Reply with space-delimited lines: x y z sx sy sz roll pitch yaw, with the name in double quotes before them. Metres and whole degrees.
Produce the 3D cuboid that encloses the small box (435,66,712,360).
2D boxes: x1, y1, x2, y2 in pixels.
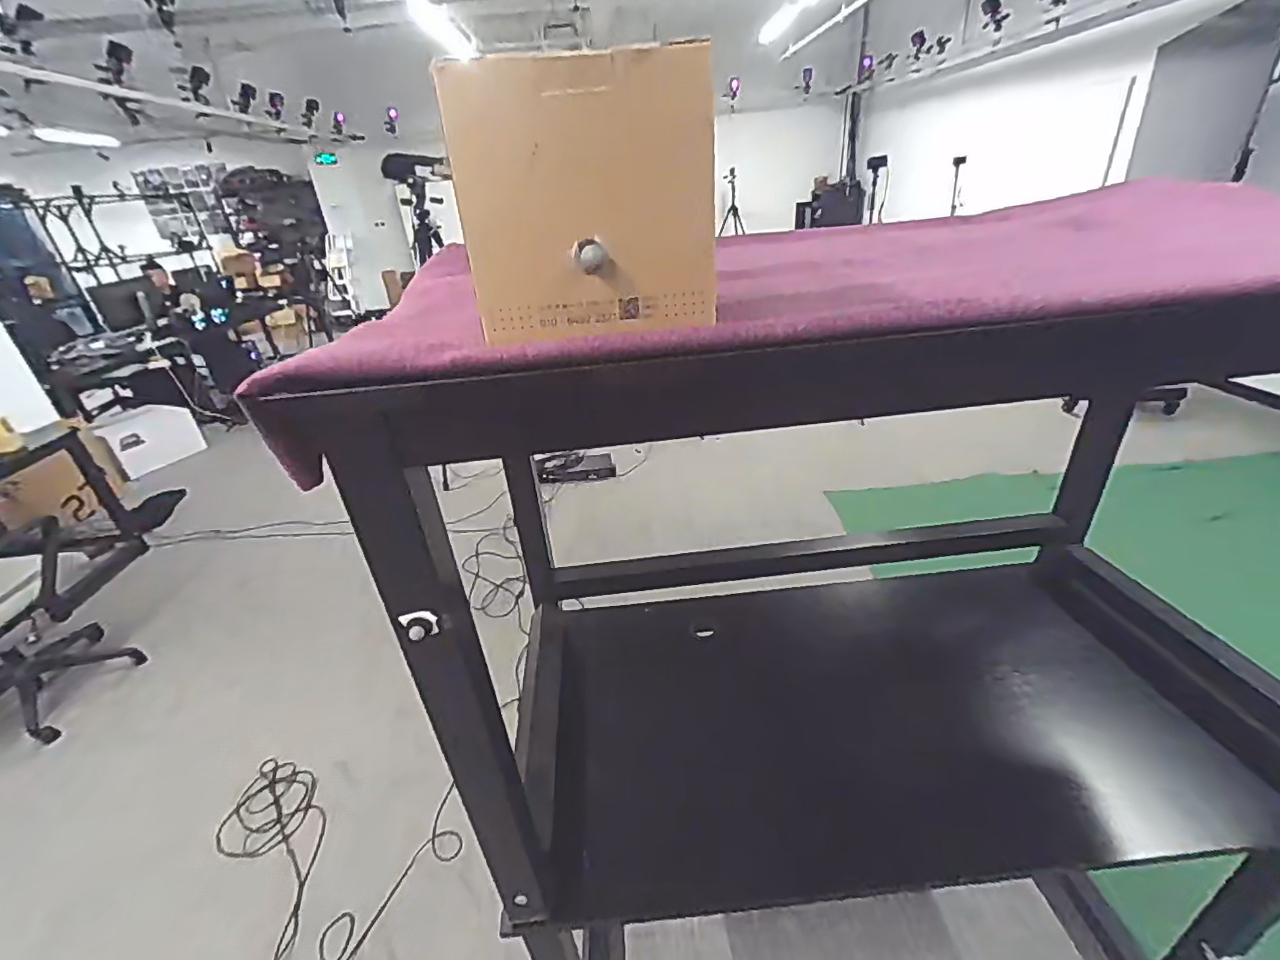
"small box" -0.039 -0.199 0.425 0.168 0.176 0.179 -6 28 -1
